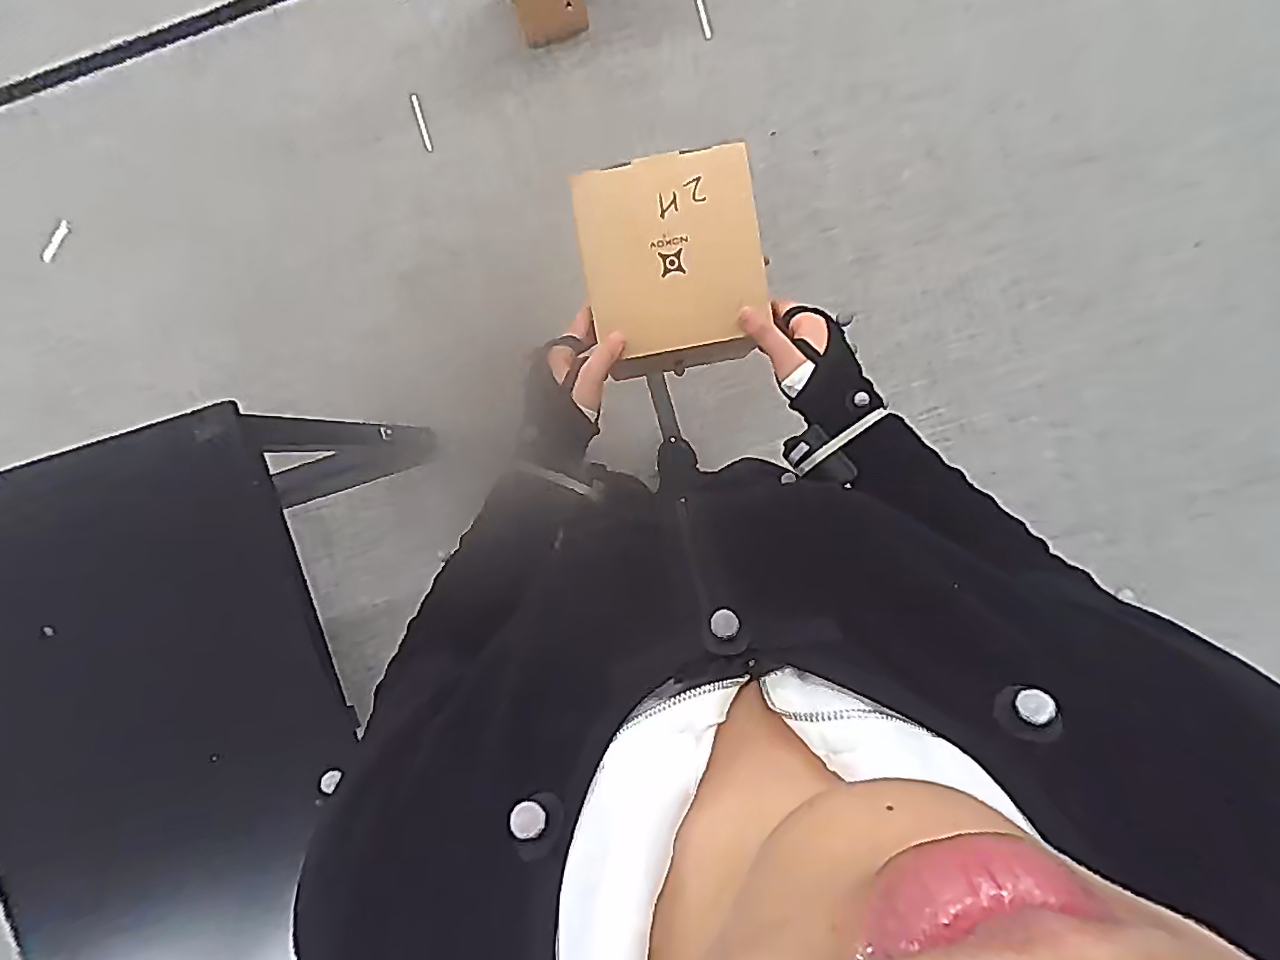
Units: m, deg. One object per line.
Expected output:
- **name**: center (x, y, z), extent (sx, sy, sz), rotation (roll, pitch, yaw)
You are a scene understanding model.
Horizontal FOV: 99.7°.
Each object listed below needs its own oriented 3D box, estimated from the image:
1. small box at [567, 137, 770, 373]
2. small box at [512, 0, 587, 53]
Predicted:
- **small box**: center (0.031, -0.216, 0.575), extent (0.168, 0.176, 0.179), rotation (-10, 93, 3)
- **small box**: center (-0.239, -1.238, 1.365), extent (0.179, 0.176, 0.168), rotation (-17, 91, 4)
